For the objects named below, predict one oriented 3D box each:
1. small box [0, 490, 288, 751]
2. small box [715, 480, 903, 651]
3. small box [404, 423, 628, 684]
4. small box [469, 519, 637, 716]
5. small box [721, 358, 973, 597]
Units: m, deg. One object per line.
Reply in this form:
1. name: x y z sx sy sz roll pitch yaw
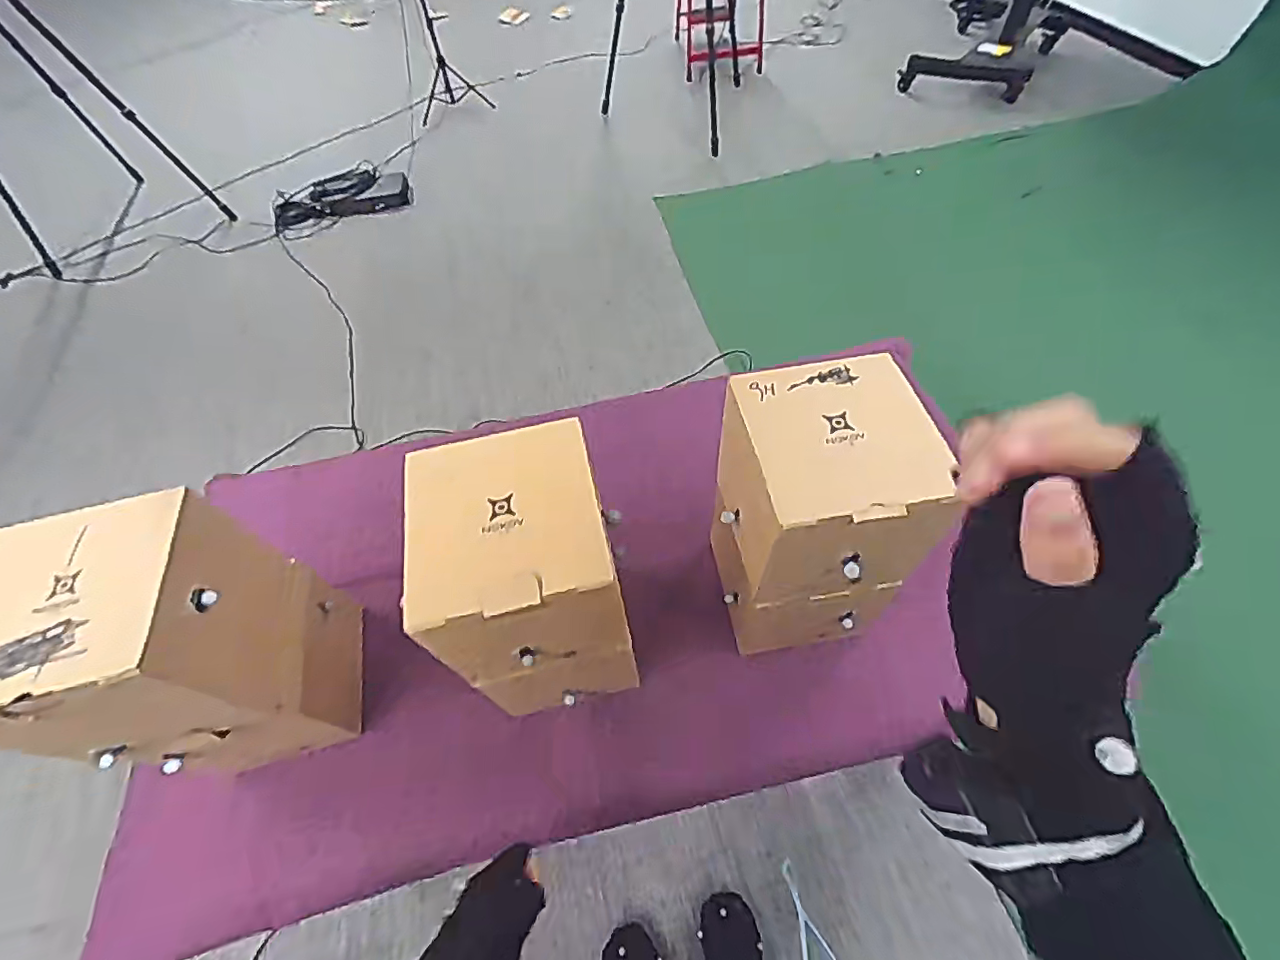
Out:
1. small box: -0.460 0.137 0.499 0.168 0.176 0.179 -11 57 -6
2. small box: 0.193 0.103 0.679 0.168 0.176 0.179 -8 55 -2
3. small box: -0.111 0.075 0.523 0.168 0.176 0.179 -13 57 -5
4. small box: -0.102 0.166 0.657 0.168 0.176 0.179 -12 57 -3
5. small box: 0.184 0.007 0.546 0.168 0.176 0.179 -8 56 -3
